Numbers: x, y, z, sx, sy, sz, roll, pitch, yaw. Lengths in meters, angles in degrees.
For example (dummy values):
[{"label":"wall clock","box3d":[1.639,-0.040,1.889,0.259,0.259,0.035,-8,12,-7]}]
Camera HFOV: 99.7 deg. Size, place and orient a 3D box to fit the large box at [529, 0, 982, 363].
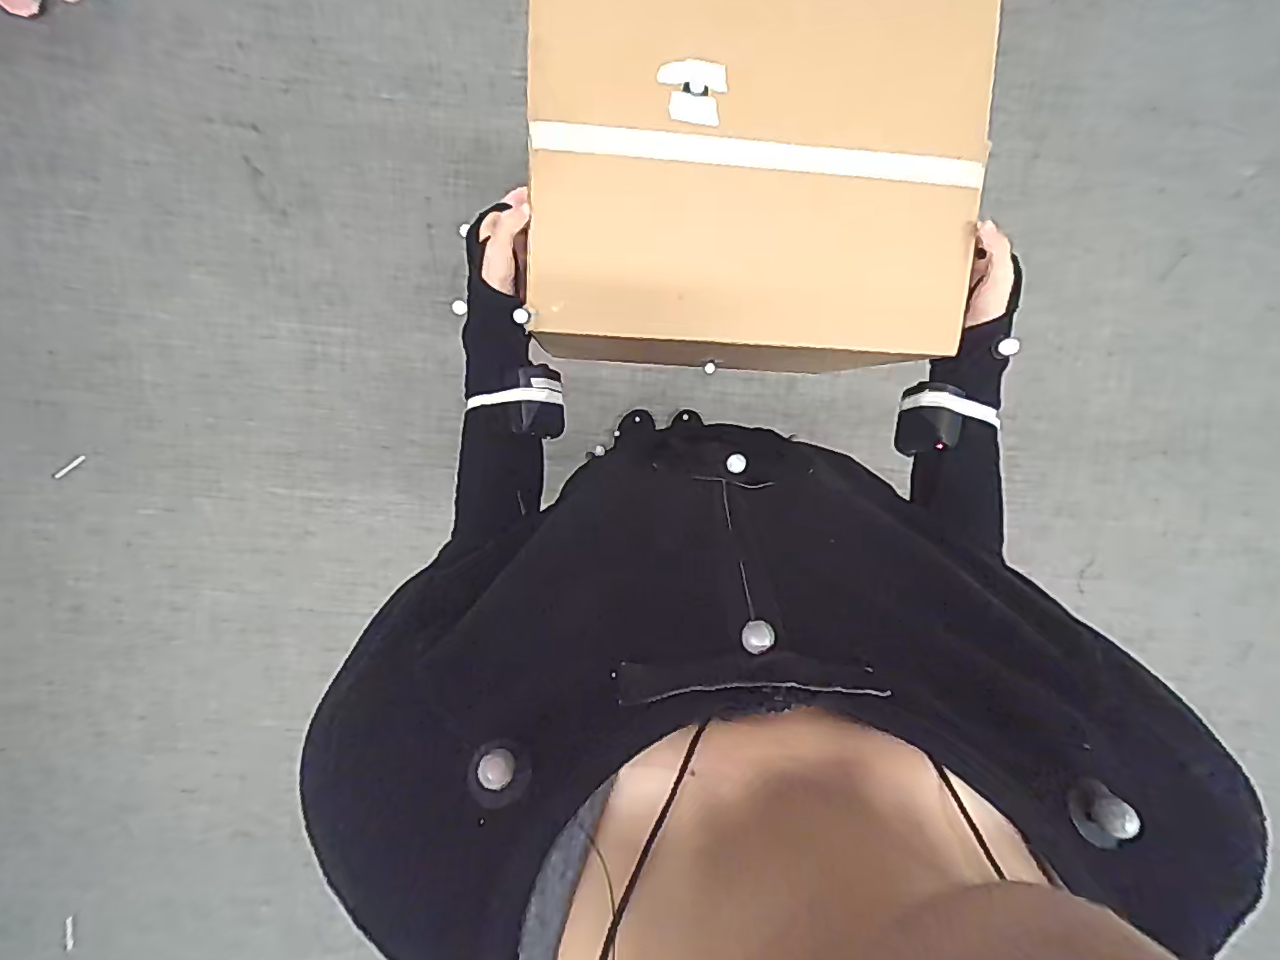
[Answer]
[{"label":"large box","box3d":[0.092,-0.305,0.631,0.408,0.320,0.320,2,98,-5]}]
